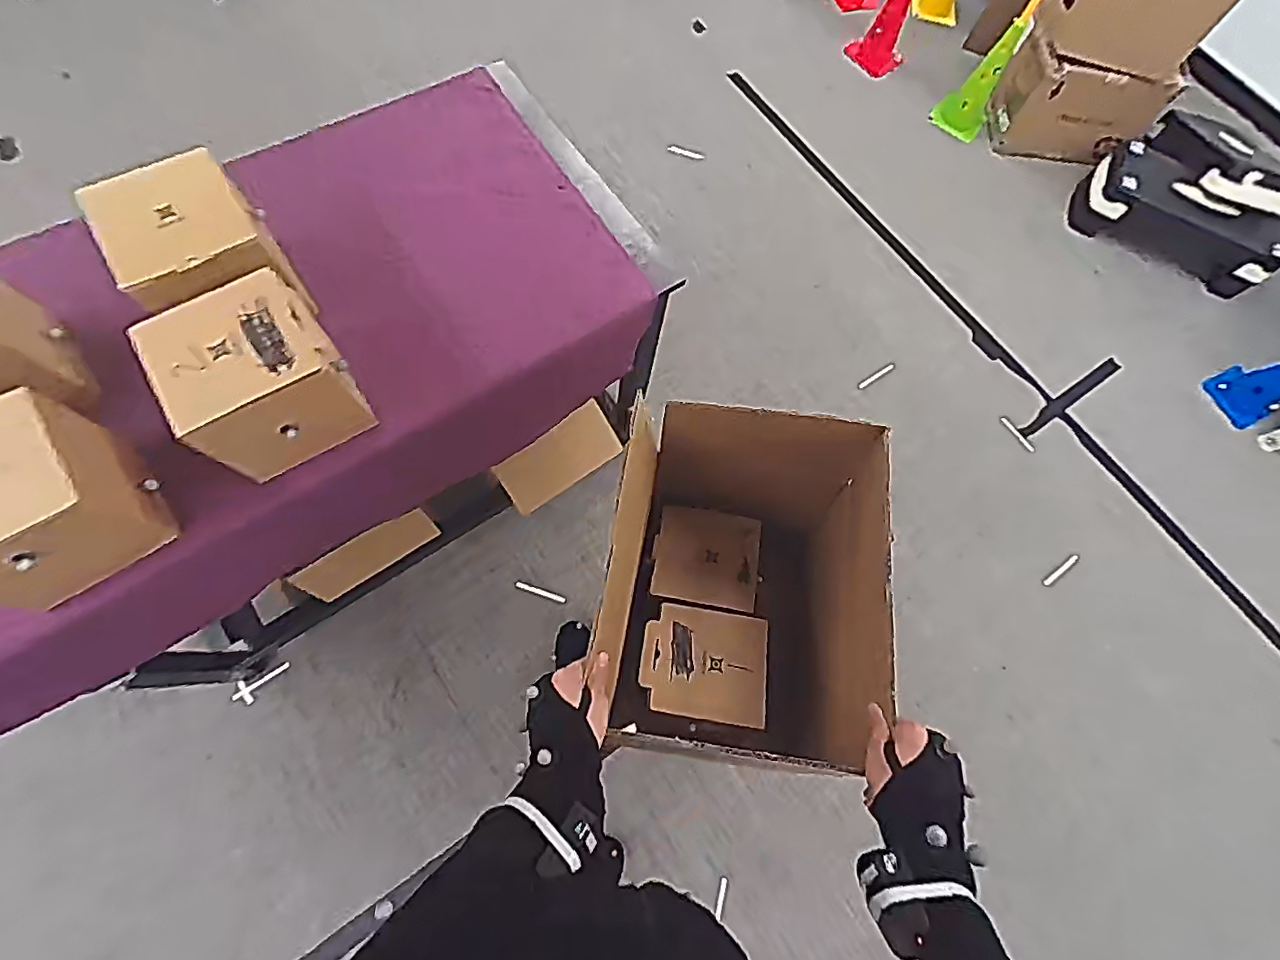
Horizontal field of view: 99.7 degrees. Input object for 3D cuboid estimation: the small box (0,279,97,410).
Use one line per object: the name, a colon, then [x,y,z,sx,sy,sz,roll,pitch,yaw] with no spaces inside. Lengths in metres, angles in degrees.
small box: [-0.866,-0.157,0.678,0.179,0.176,0.168,-35,80,-16]

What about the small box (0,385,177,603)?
small box: [-0.717,0.027,0.636,0.179,0.176,0.168,-33,79,-16]
